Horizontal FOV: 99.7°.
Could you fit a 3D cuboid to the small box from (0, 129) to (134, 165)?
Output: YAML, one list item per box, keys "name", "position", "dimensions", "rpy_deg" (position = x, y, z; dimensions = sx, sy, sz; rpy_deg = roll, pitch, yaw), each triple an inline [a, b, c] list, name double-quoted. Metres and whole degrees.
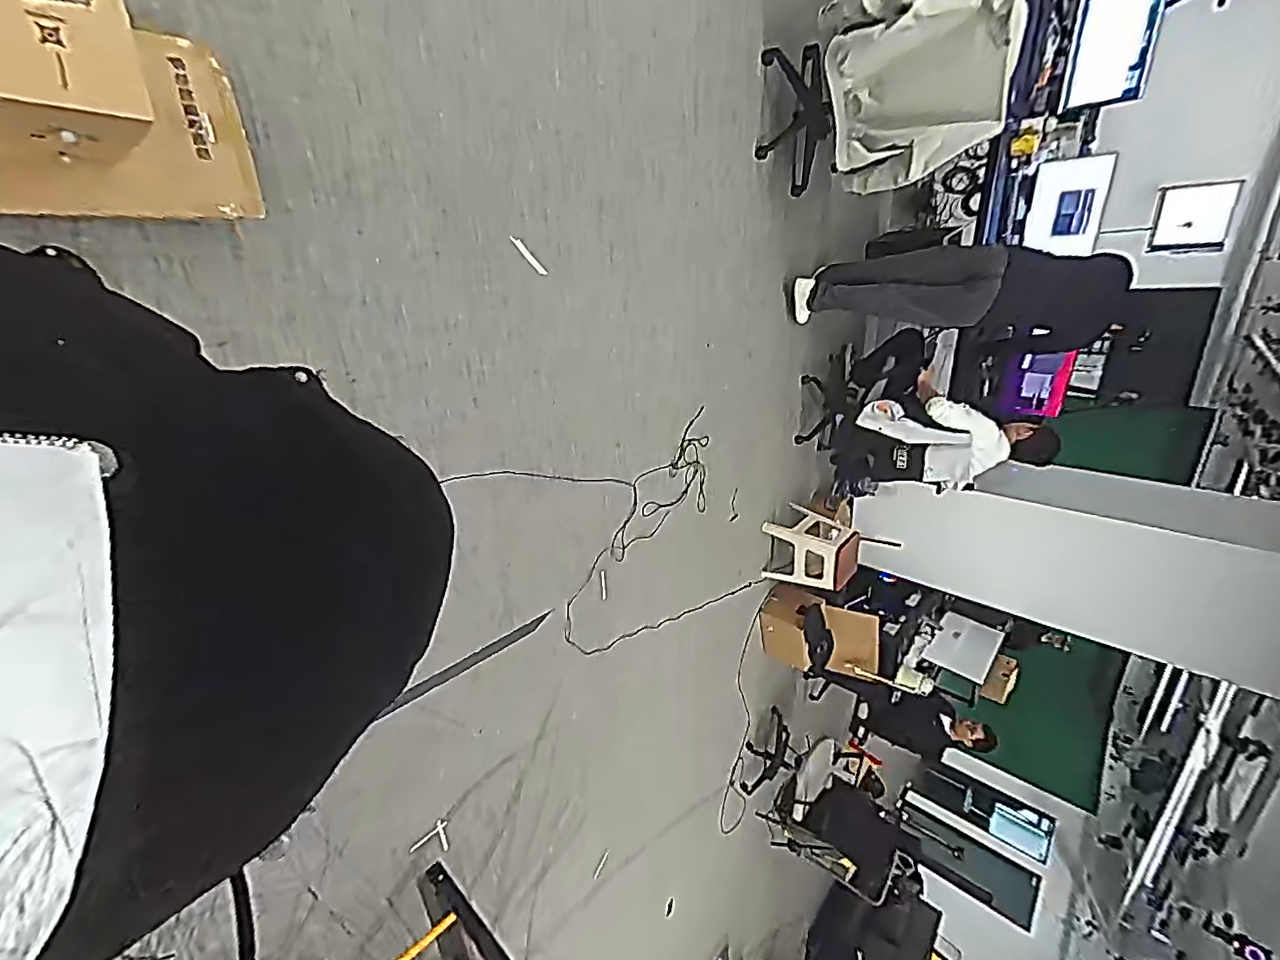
- name: "small box"
  position: [-0.920, -0.601, 0.825]
  dimensions: [0.168, 0.176, 0.179]
  rpy_deg: [-24, 119, -42]

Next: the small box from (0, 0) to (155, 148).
- name: "small box"
  position: [-0.793, -0.572, 0.725]
  dimensions: [0.168, 0.176, 0.179]
  rpy_deg: [-20, 117, -43]
